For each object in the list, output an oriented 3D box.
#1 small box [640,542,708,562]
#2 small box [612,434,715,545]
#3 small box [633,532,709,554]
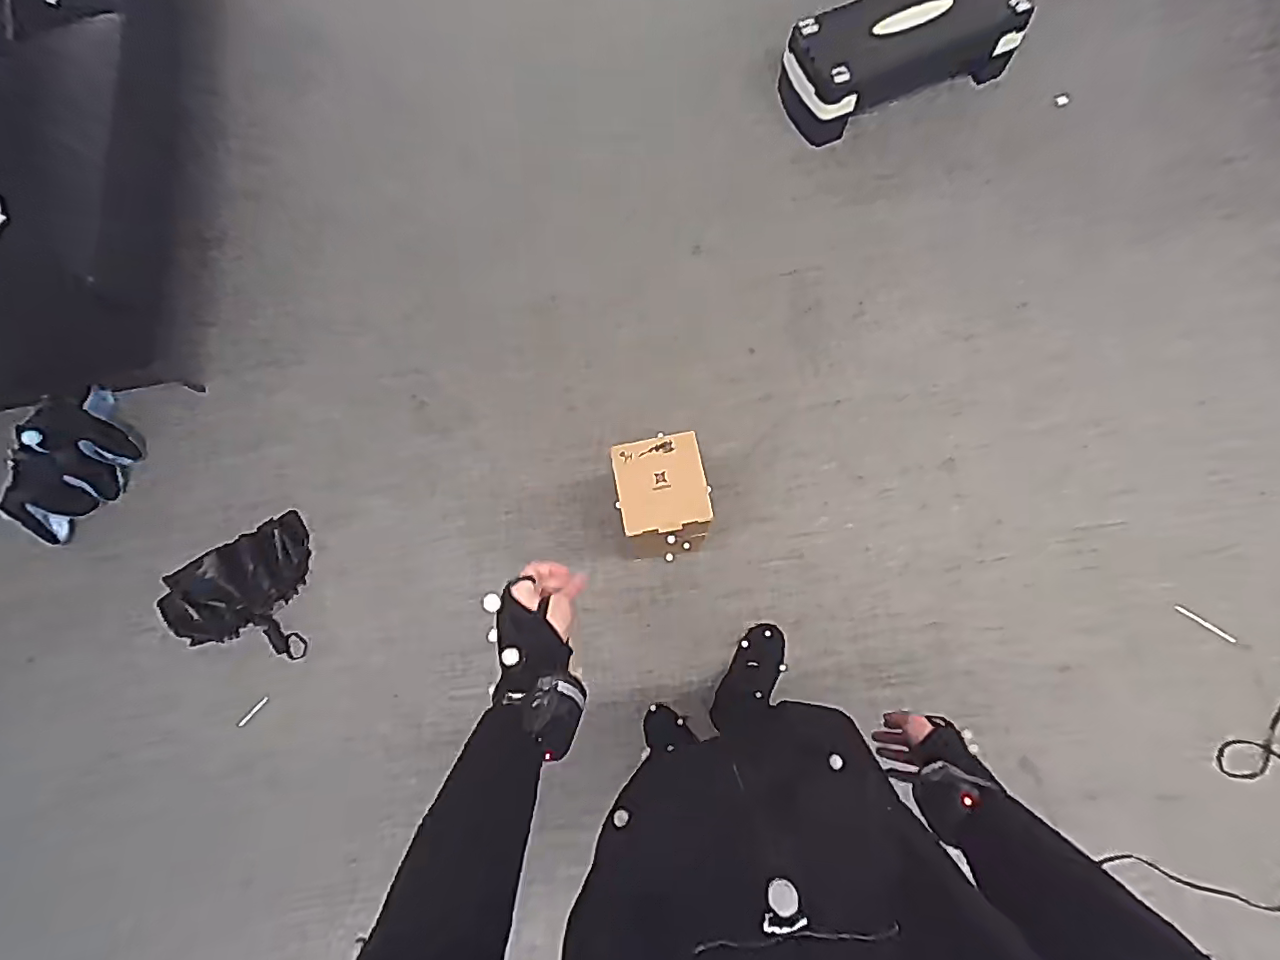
[{"bbox_3d":[0.076,0.106,1.383,0.168,0.176,0.179,-9,76,3],"label":"small box"},{"bbox_3d":[0.049,0.029,1.068,0.168,0.176,0.179,-12,77,2],"label":"small box"},{"bbox_3d":[0.062,0.068,1.227,0.168,0.176,0.179,-10,74,2],"label":"small box"}]
